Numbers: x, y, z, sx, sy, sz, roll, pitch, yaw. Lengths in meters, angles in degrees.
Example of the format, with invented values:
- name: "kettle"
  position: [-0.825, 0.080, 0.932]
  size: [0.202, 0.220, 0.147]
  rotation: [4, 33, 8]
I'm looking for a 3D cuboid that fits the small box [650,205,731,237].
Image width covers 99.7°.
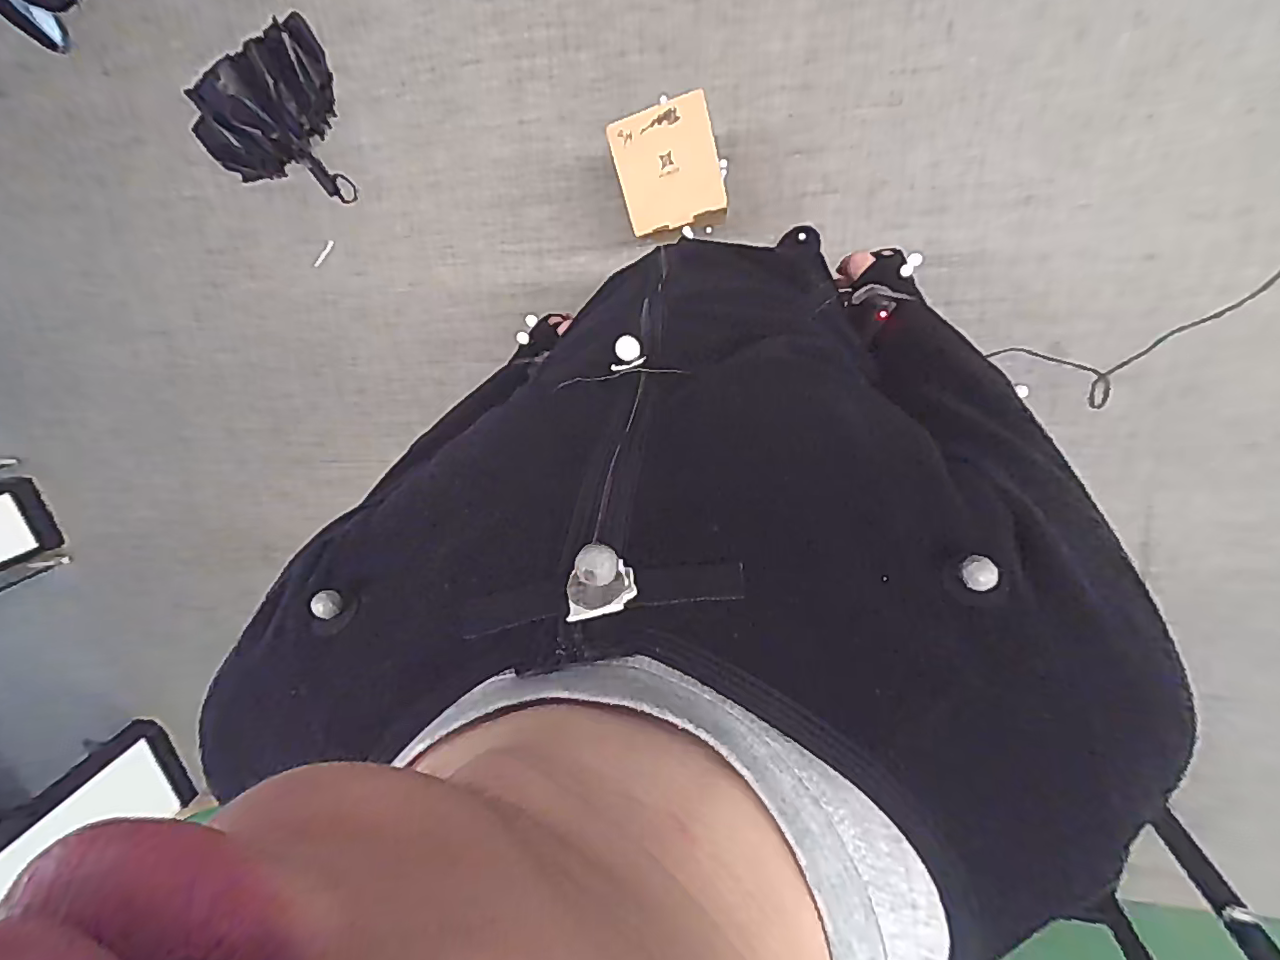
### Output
- name: "small box"
  position: [0.086, -0.609, 1.100]
  size: [0.168, 0.176, 0.179]
  rotation: [-11, 111, 15]

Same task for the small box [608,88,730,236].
- name: "small box"
  position: [0.061, -0.546, 0.953]
  size: [0.168, 0.176, 0.179]
  rotation: [-12, 111, 15]
